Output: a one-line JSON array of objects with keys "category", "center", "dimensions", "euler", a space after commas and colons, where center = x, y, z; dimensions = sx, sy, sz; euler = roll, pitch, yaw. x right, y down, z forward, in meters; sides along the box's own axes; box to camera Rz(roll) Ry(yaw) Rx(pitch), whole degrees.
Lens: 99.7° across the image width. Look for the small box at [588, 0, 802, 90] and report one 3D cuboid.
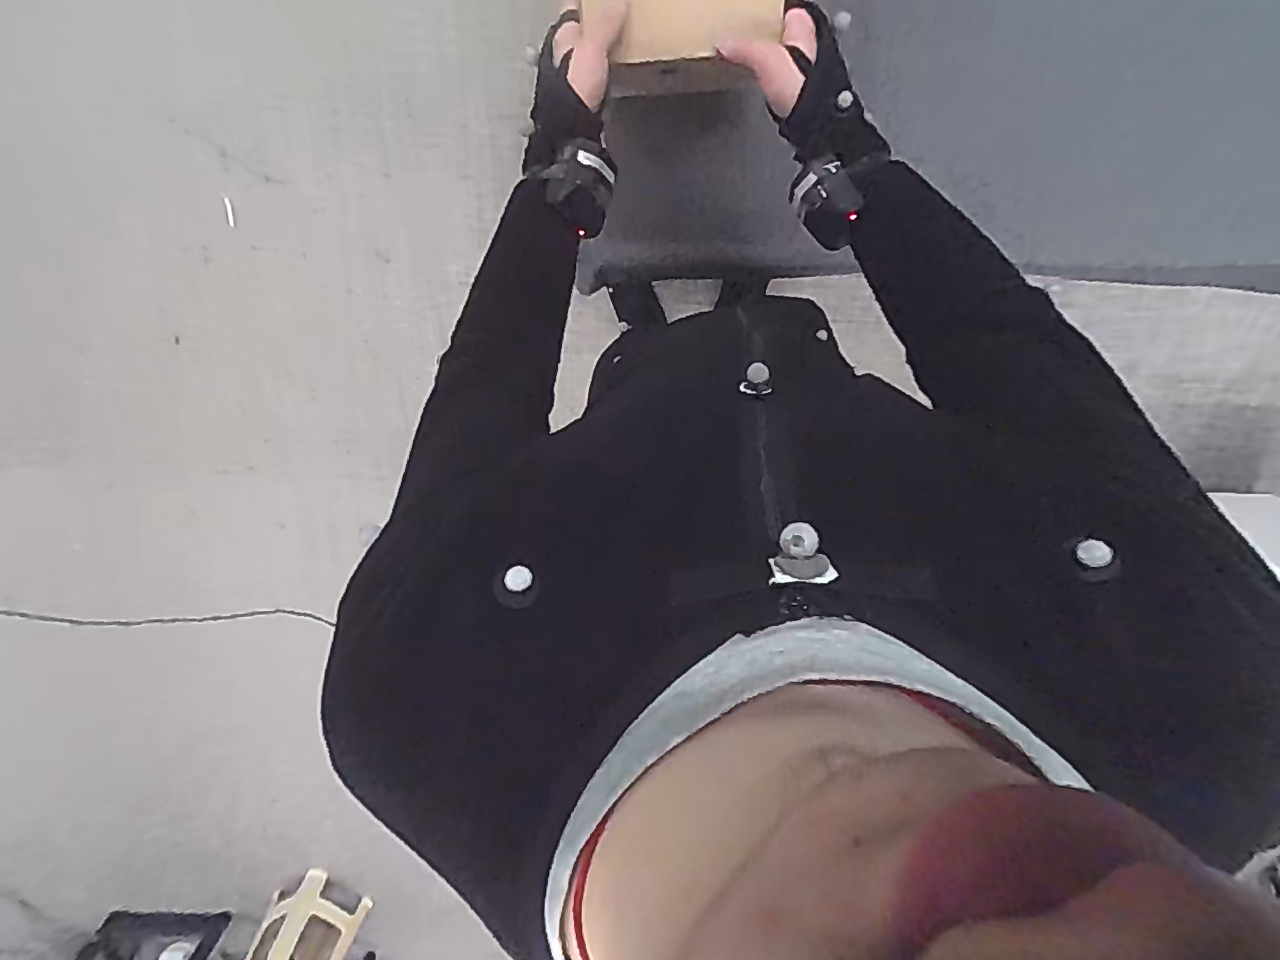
[{"category": "small box", "center": [0.043, -0.470, 0.487], "dimensions": [0.179, 0.176, 0.168], "euler": [-2, 116, 1]}]
